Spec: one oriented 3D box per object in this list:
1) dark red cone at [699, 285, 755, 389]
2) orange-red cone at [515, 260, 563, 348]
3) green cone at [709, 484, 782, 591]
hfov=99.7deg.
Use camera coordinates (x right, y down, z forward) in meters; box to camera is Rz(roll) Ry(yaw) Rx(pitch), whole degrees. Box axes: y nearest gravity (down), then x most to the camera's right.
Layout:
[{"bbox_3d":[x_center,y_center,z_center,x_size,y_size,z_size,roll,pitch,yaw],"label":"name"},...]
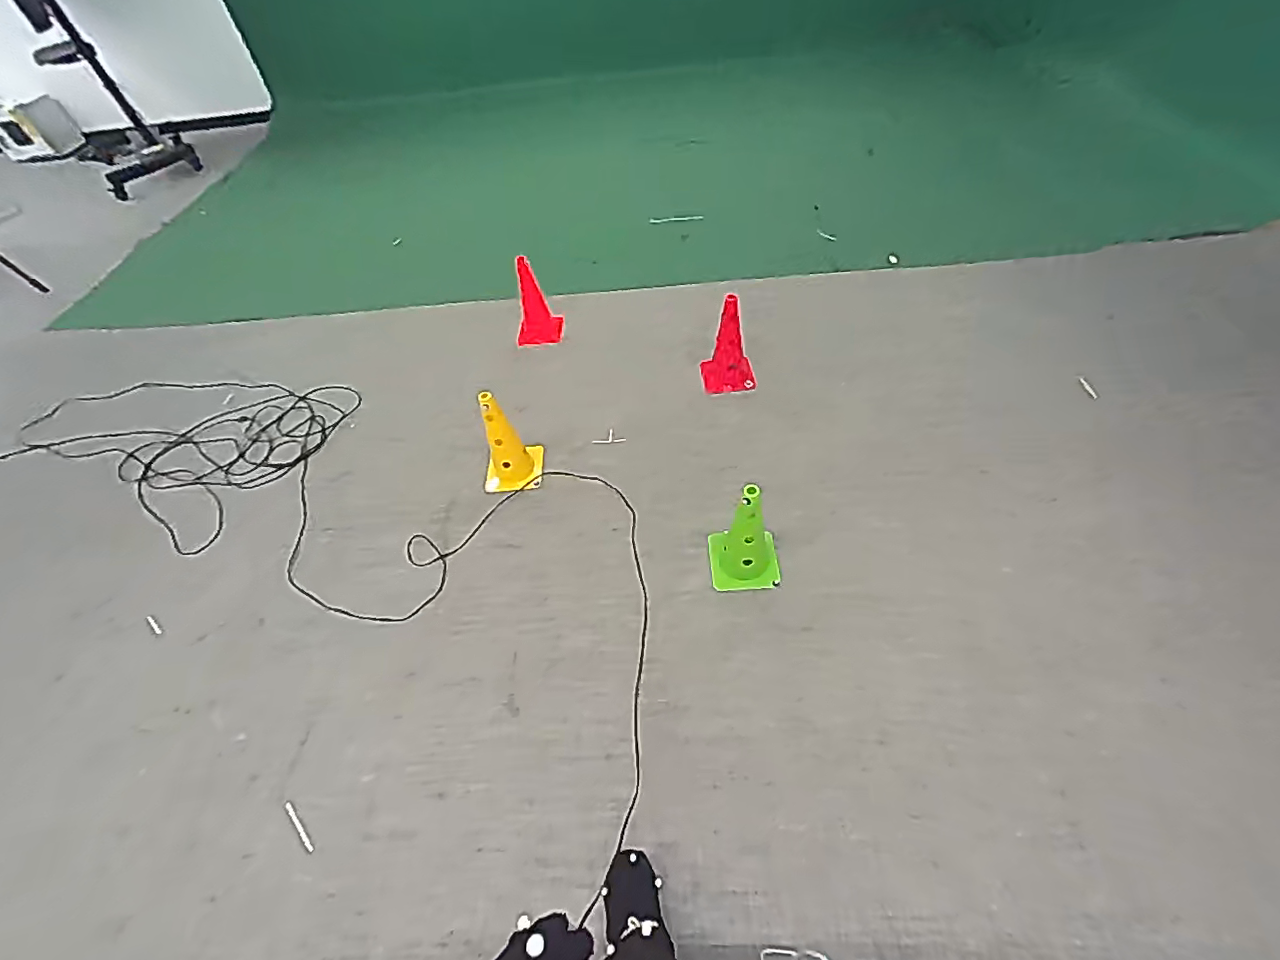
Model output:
[{"bbox_3d":[0.327,-0.542,2.023,0.202,0.394,0.201,-8,50,1],"label":"dark red cone"},{"bbox_3d":[-0.473,-0.777,2.343,0.198,0.360,0.199,-4,52,5],"label":"orange-red cone"},{"bbox_3d":[0.299,0.134,1.513,0.202,0.368,0.200,-6,50,4],"label":"green cone"}]
